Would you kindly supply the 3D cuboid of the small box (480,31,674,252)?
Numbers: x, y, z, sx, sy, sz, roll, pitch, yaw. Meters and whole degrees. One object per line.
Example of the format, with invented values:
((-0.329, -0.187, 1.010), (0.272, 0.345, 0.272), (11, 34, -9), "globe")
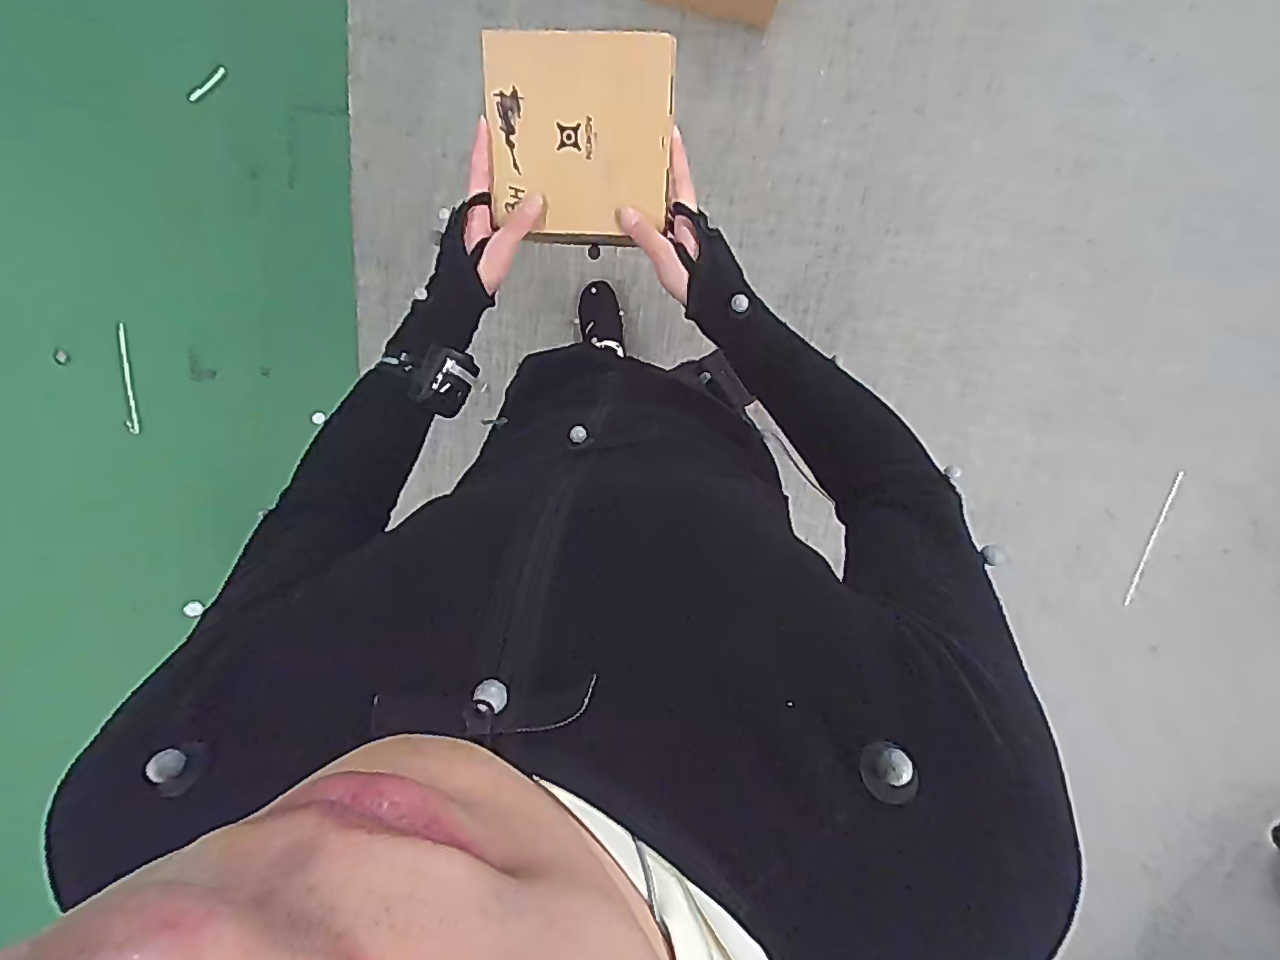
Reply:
((-0.060, -0.342, 0.581), (0.179, 0.176, 0.168), (3, 108, 0), "small box")
